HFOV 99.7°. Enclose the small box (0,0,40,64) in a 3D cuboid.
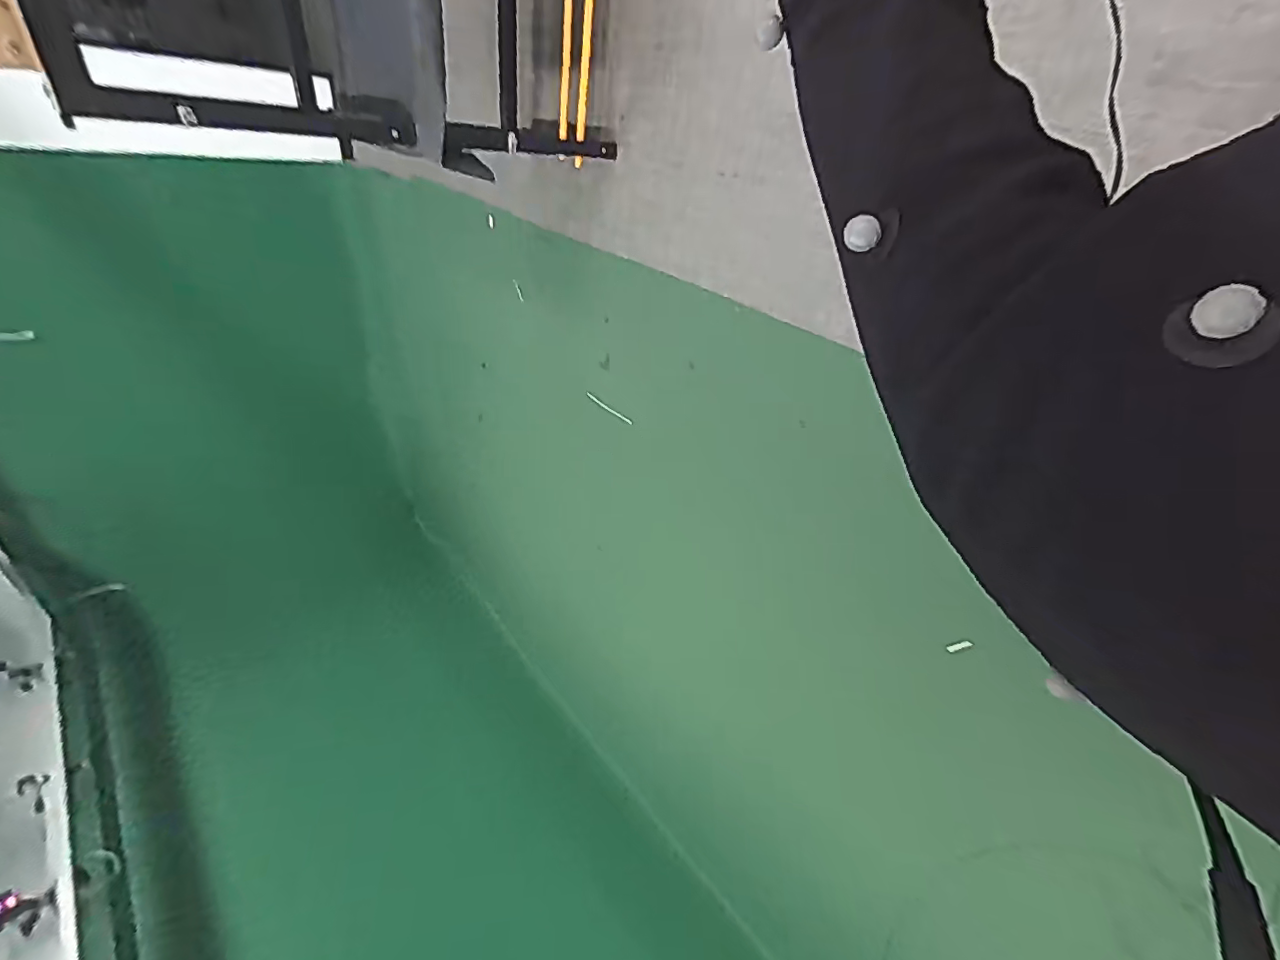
[{"bbox_3d":[-1.297,-0.912,1.031,0.179,0.176,0.168,35,131,36],"label":"small box"}]
